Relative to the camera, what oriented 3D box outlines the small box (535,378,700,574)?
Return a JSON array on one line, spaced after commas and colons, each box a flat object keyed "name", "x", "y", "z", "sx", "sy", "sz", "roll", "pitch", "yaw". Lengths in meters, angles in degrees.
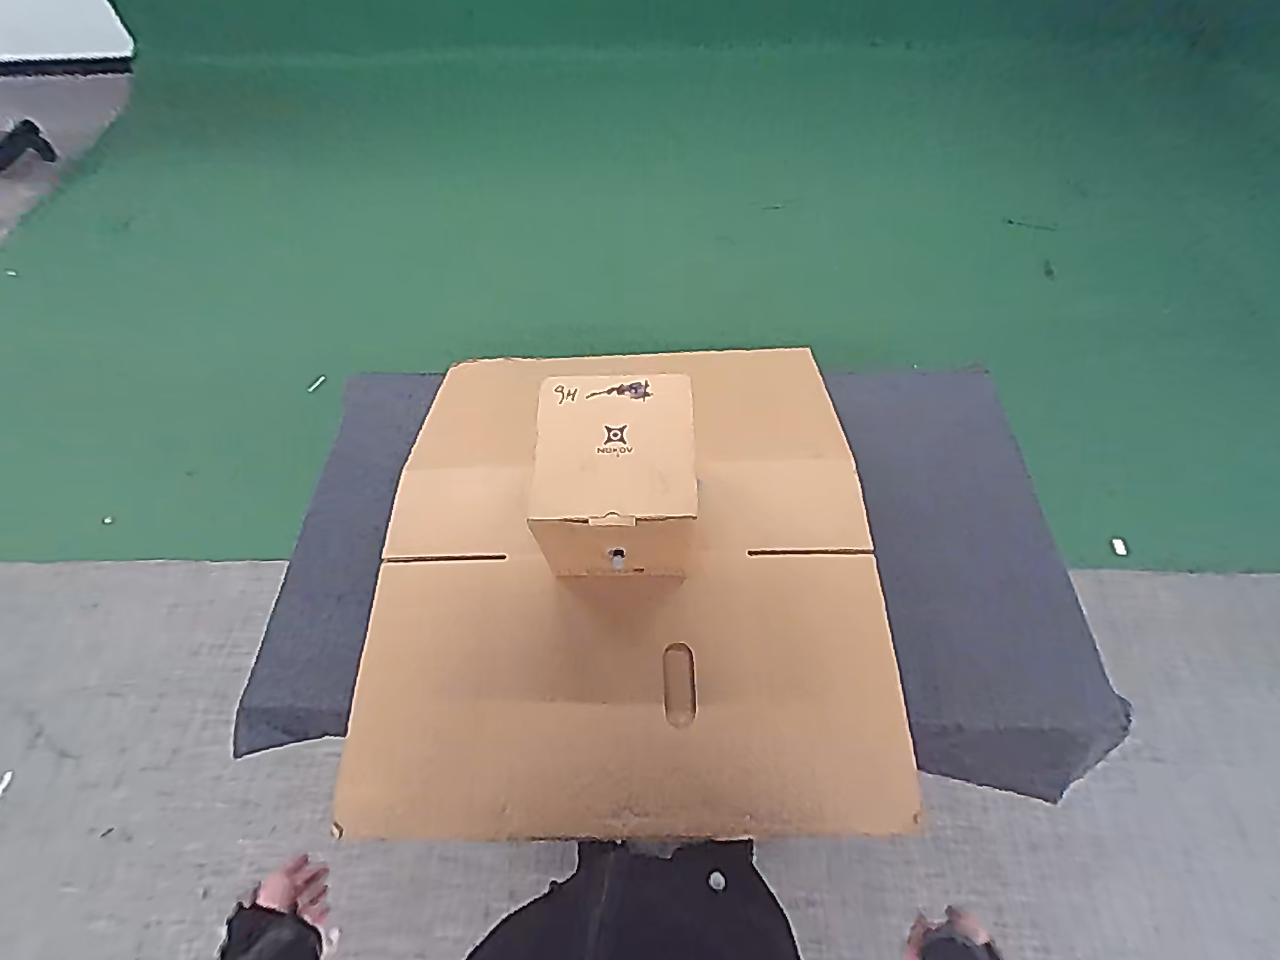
[{"name": "small box", "x": -0.019, "y": 0.005, "z": 0.631, "sx": 0.168, "sy": 0.176, "sz": 0.179, "roll": -3, "pitch": 61, "yaw": 1}]
